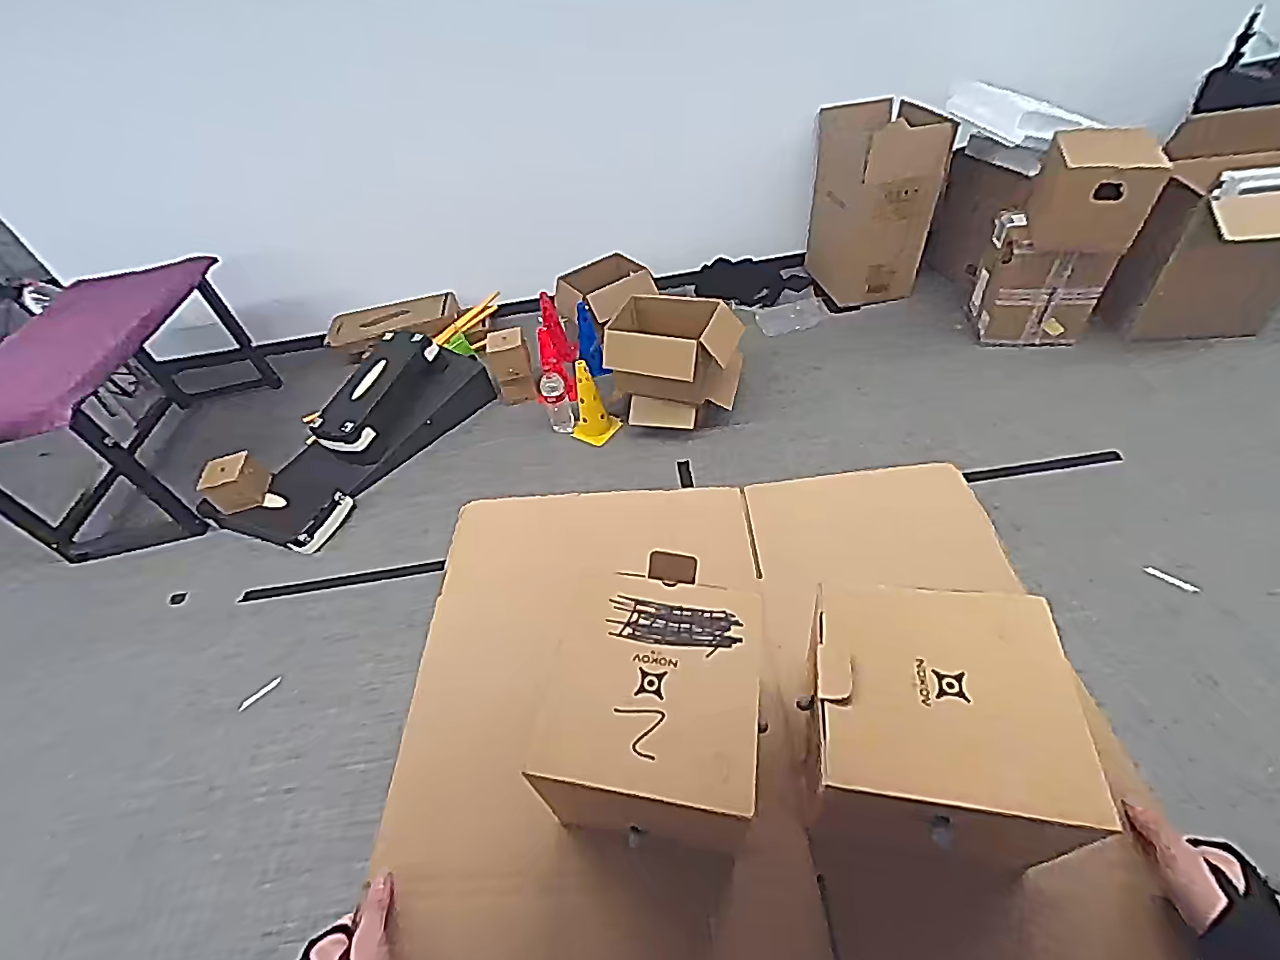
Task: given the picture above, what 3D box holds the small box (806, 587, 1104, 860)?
[{"bbox_3d":[0.242,0.213,0.473,0.179,0.176,0.168,1,48,15],"label":"small box"}]
